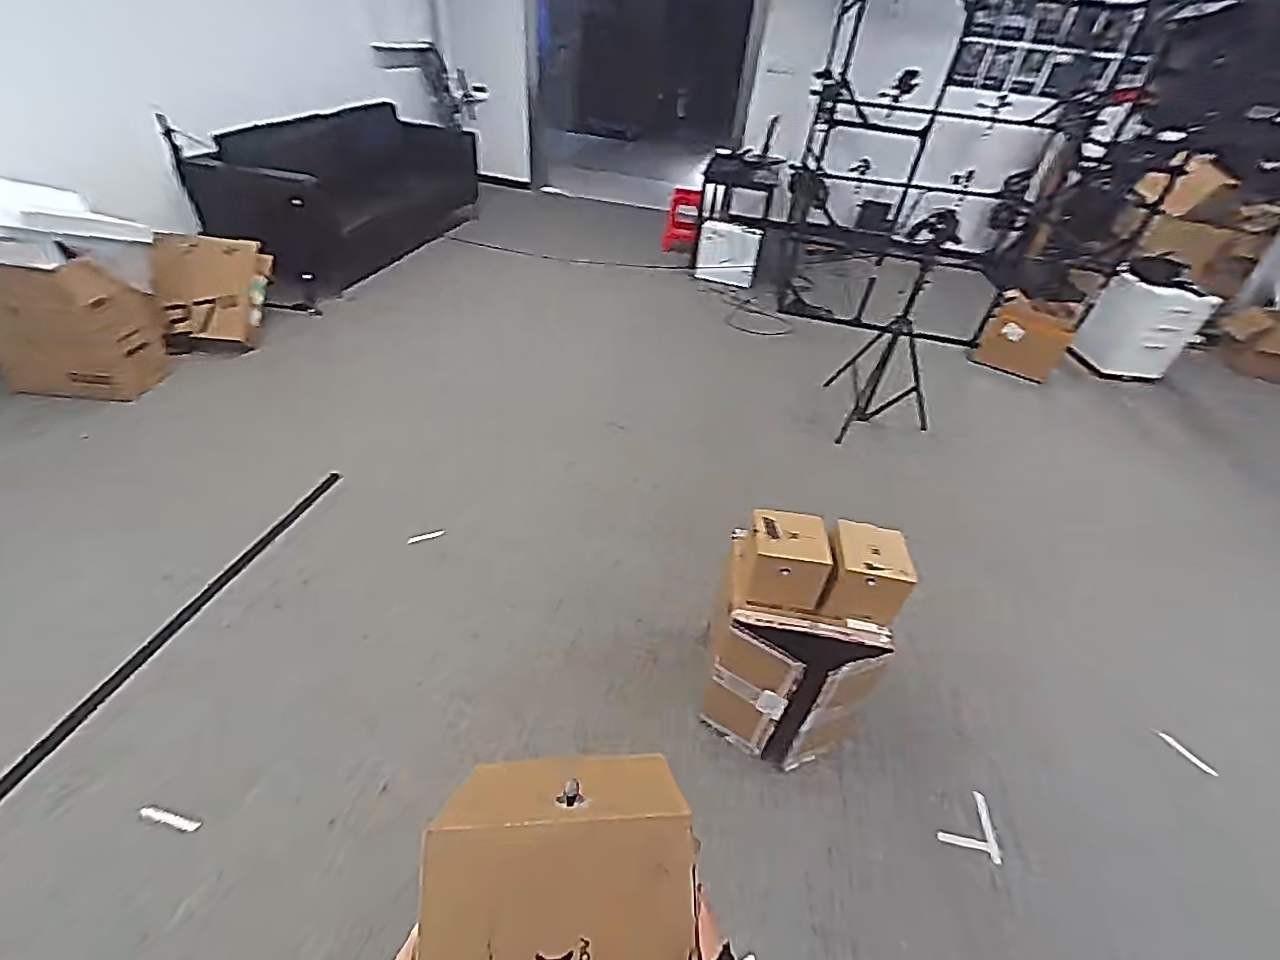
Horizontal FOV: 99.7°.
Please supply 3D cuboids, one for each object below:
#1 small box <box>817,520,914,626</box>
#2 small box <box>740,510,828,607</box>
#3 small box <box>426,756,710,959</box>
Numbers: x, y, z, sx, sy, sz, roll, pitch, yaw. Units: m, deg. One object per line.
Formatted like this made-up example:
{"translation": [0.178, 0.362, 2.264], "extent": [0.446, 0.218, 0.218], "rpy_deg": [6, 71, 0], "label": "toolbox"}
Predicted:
{"translation": [0.544, 0.230, 1.345], "extent": [0.168, 0.176, 0.179], "rpy_deg": [11, 38, 2], "label": "small box"}
{"translation": [0.349, 0.199, 1.353], "extent": [0.179, 0.176, 0.168], "rpy_deg": [7, 38, 2], "label": "small box"}
{"translation": [-0.049, 0.316, 0.406], "extent": [0.179, 0.176, 0.168], "rpy_deg": [-1, 74, -4], "label": "small box"}
